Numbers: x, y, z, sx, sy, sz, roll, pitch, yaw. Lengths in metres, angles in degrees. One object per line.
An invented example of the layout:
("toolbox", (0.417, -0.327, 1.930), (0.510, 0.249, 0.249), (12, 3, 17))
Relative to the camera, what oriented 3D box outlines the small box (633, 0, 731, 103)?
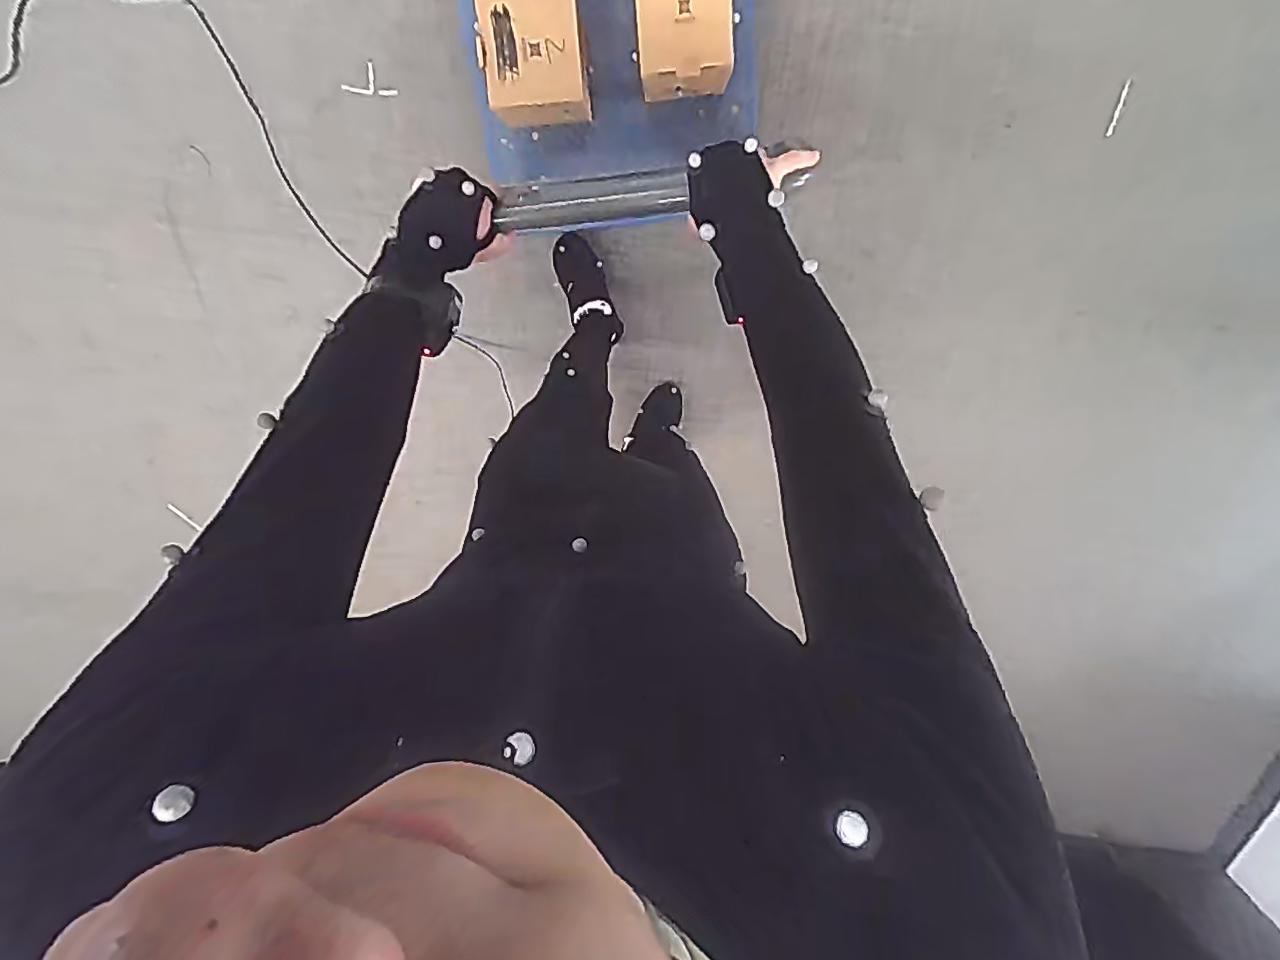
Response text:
("small box", (0.075, -0.835, 1.006), (0.168, 0.176, 0.179), (-5, 112, 3))
